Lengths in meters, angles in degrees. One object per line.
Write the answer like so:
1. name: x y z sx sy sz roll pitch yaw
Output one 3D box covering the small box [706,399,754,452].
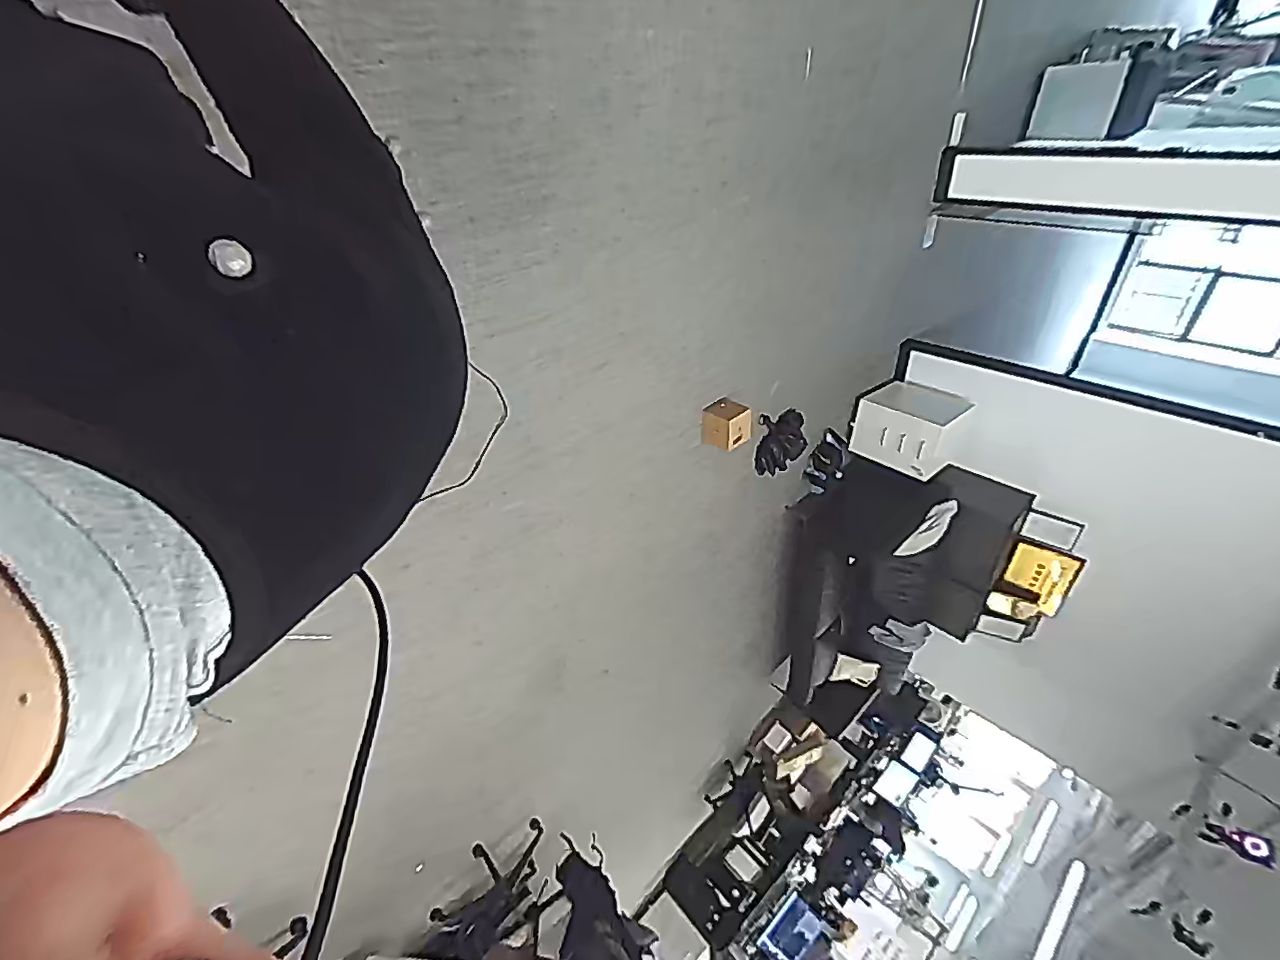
1. small box: 0.434 -0.269 2.624 0.168 0.176 0.179 -31 132 -30
